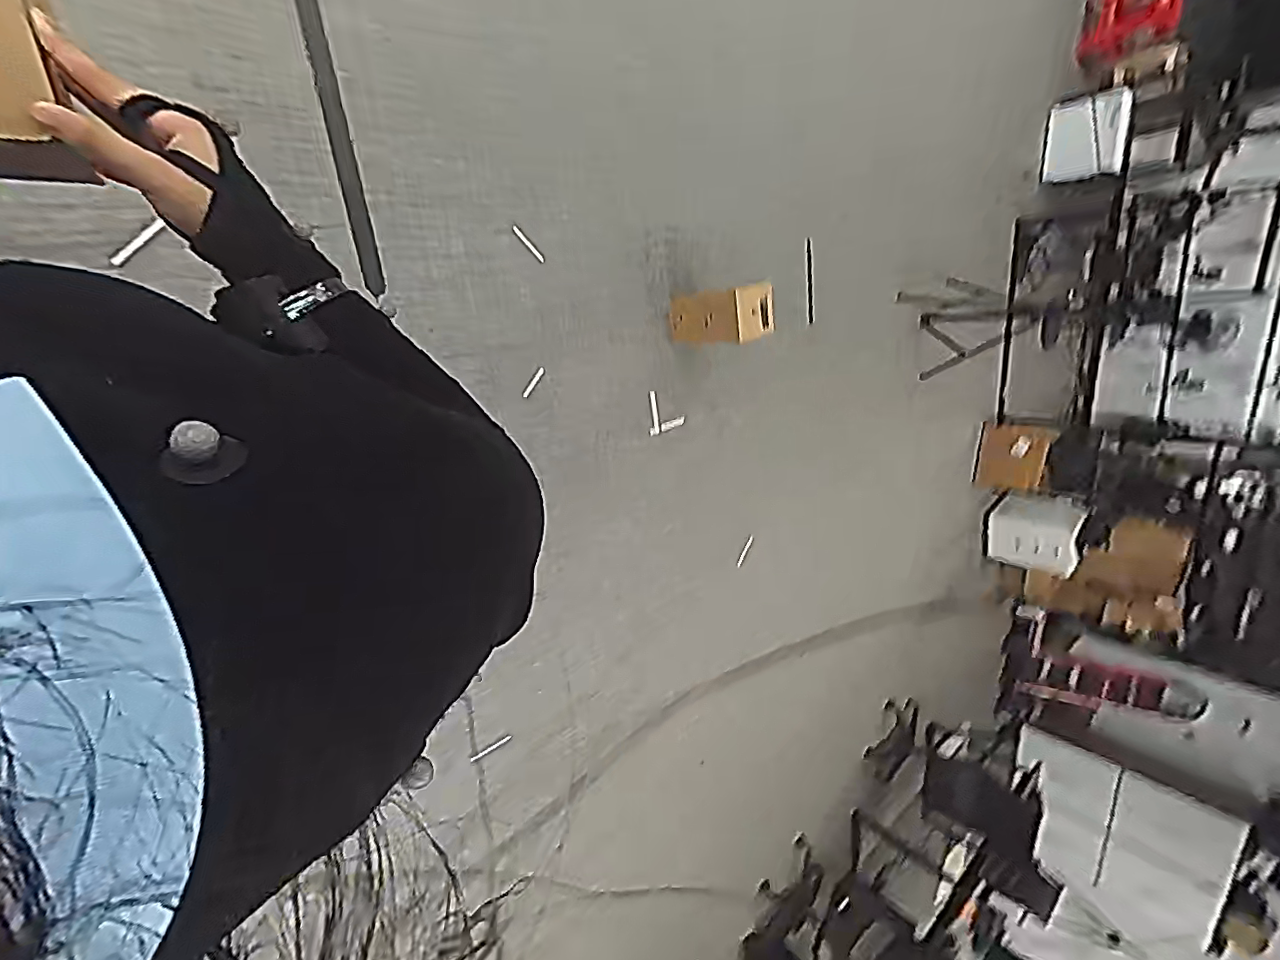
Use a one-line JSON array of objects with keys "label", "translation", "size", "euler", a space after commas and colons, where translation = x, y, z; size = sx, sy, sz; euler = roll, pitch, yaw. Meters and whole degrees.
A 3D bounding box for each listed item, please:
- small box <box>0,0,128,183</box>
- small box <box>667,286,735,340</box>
[{"label": "small box", "translation": [-0.438, -0.293, 0.316], "size": [0.168, 0.176, 0.179], "euler": [-14, 114, -35]}, {"label": "small box", "translation": [0.220, -0.605, 1.955], "size": [0.179, 0.176, 0.168], "euler": [-23, 114, -34]}]
